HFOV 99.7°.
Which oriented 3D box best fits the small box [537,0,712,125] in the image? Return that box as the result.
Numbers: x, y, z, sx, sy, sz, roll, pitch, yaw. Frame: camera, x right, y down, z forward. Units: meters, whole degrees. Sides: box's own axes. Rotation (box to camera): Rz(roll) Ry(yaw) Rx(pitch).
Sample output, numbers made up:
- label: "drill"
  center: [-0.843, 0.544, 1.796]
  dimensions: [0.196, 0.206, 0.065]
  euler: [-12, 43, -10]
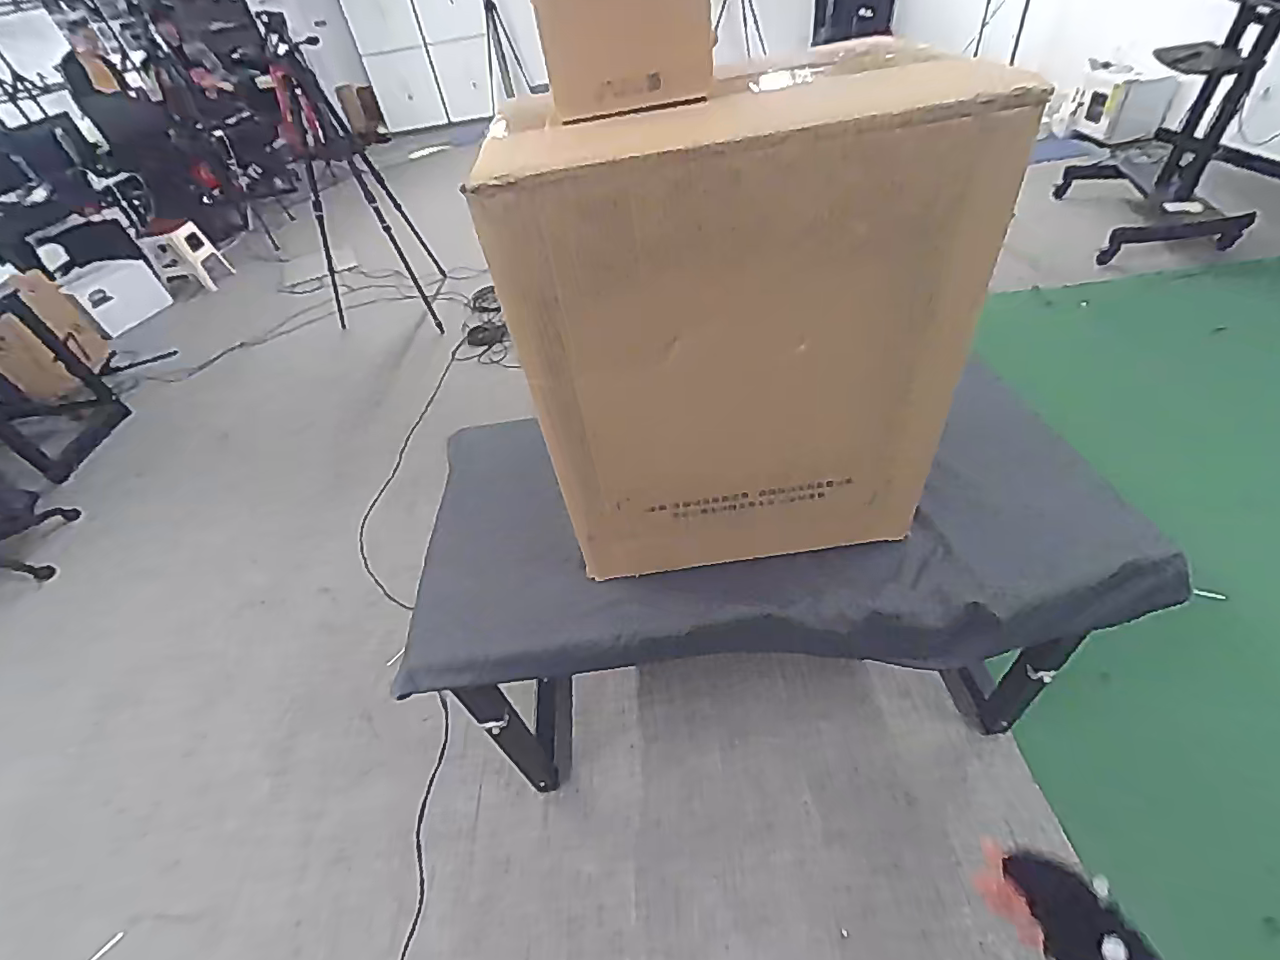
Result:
- label: "small box"
  center: [-0.017, -0.497, 0.577]
  dimensions: [0.168, 0.176, 0.179]
  euler: [-8, 42, 4]
